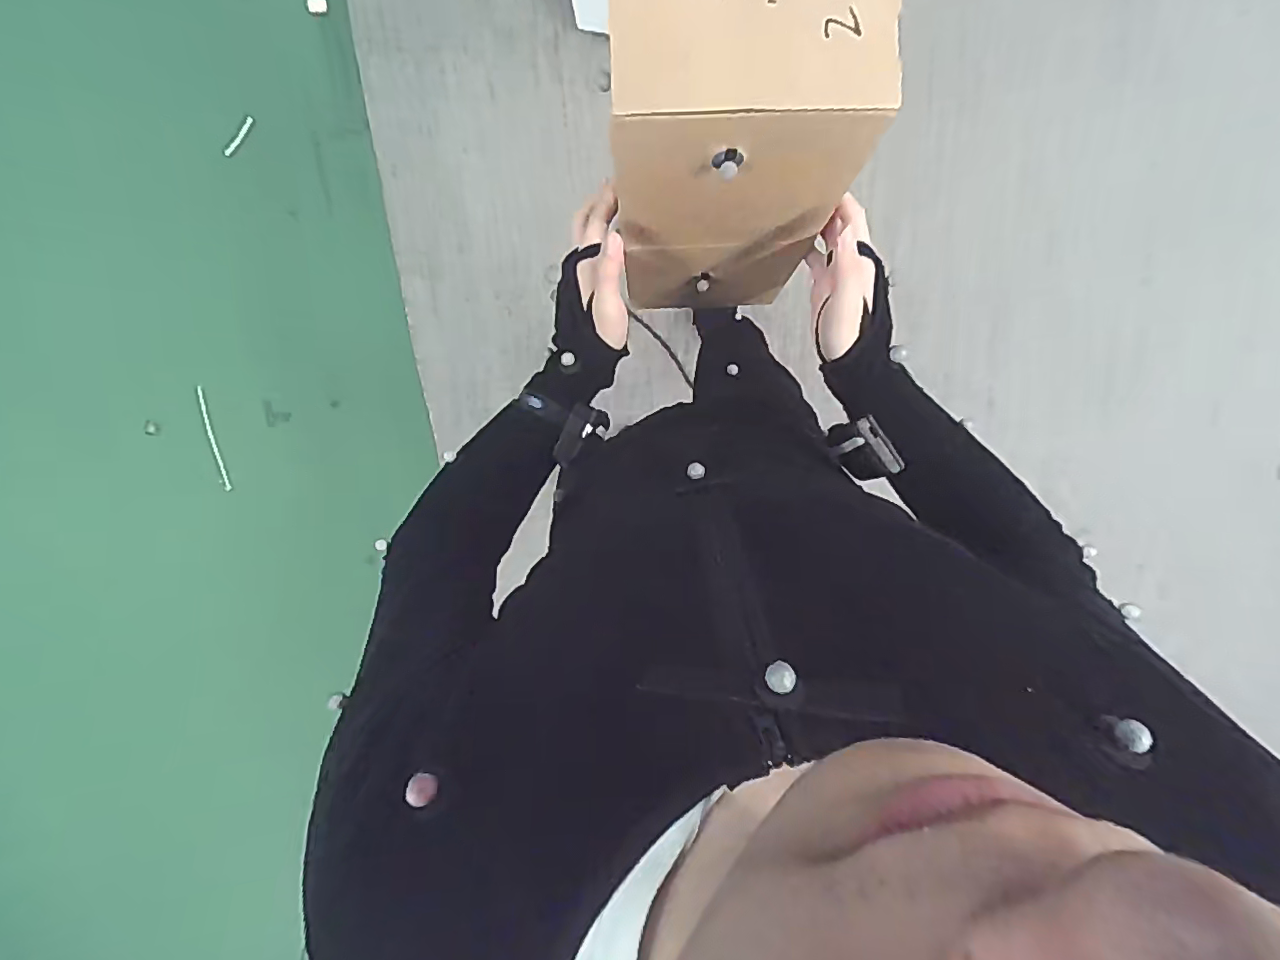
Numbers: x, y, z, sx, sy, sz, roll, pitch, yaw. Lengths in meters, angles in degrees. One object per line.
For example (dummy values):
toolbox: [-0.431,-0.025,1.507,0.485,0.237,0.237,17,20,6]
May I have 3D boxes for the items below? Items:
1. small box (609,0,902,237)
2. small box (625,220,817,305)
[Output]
small box: [0.070,-0.299,0.404,0.179,0.176,0.168,0,89,0]
small box: [0.072,-0.294,0.568,0.179,0.176,0.168,-2,88,1]
